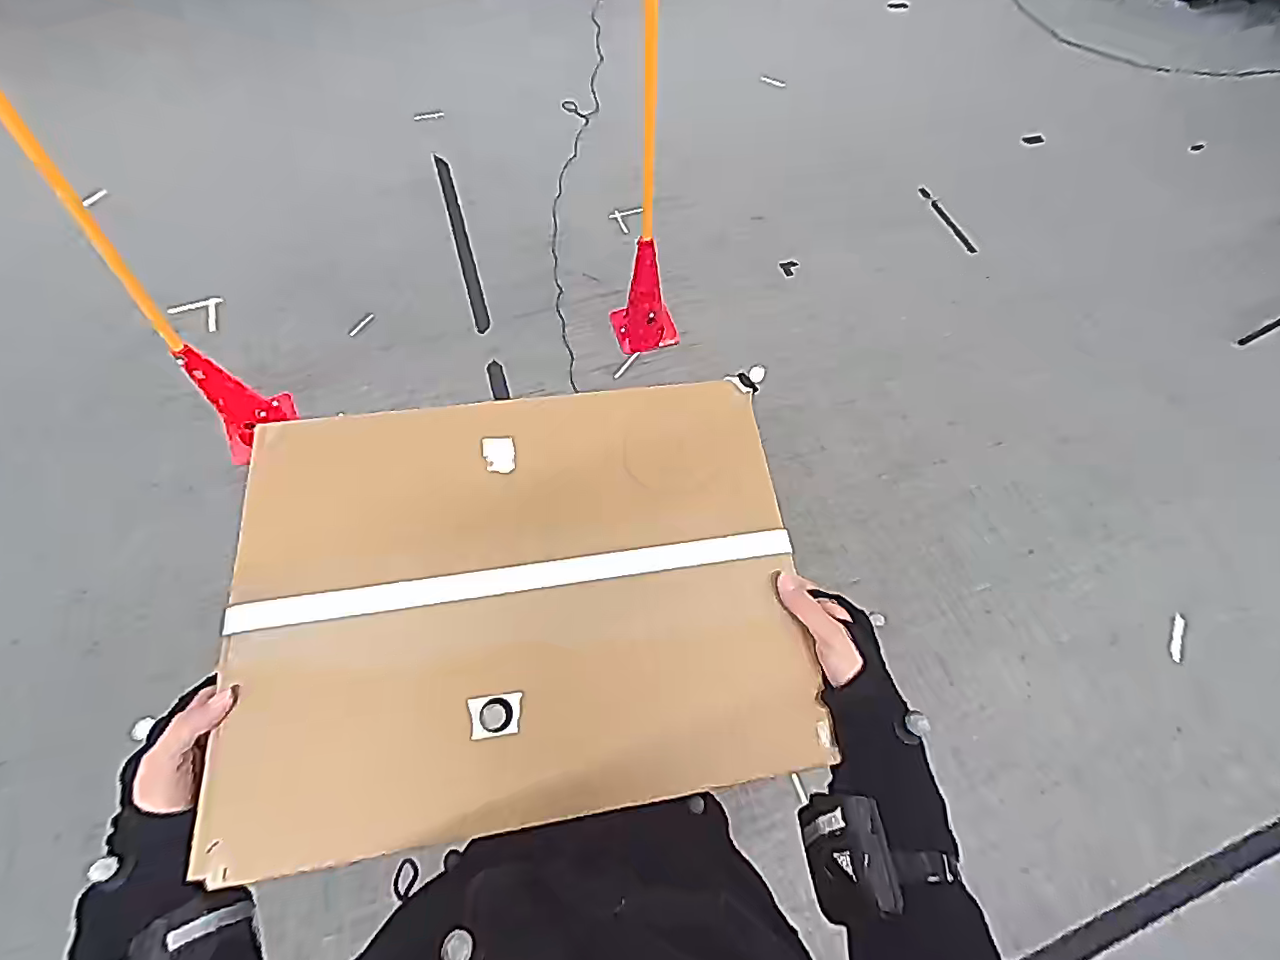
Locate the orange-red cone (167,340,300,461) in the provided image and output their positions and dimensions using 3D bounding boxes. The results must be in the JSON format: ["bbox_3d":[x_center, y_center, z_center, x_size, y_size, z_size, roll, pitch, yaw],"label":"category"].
[{"bbox_3d":[-1.118,-0.239,1.450,0.199,0.360,0.198,-25,65,-12],"label":"orange-red cone"}]
